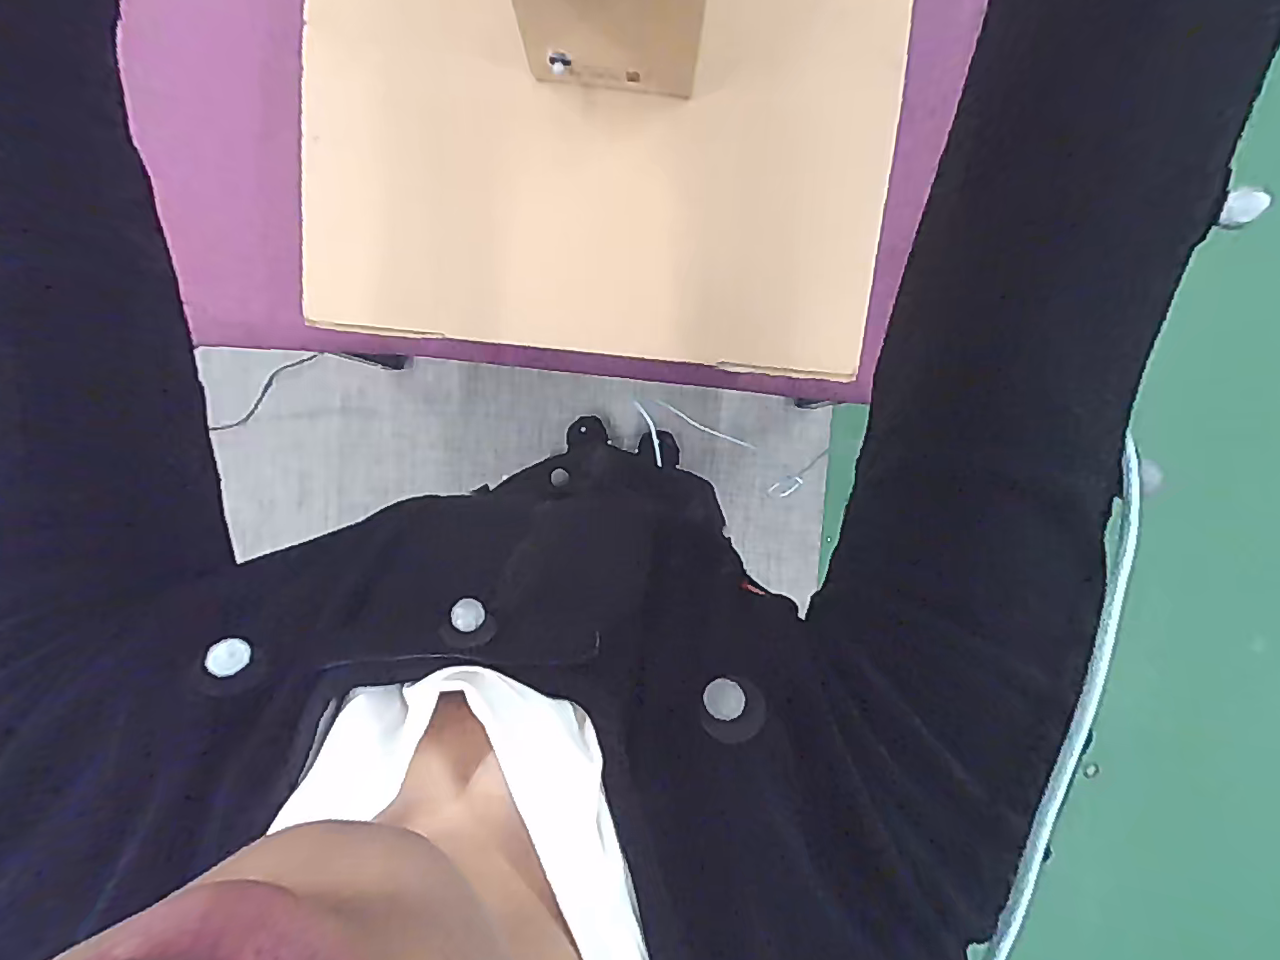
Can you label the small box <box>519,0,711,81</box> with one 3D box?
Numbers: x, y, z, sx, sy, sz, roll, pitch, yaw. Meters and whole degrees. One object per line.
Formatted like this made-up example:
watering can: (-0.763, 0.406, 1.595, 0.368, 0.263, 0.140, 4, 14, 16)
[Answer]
small box: (-0.016, -0.480, 0.455, 0.168, 0.176, 0.179, 3, 94, -1)
